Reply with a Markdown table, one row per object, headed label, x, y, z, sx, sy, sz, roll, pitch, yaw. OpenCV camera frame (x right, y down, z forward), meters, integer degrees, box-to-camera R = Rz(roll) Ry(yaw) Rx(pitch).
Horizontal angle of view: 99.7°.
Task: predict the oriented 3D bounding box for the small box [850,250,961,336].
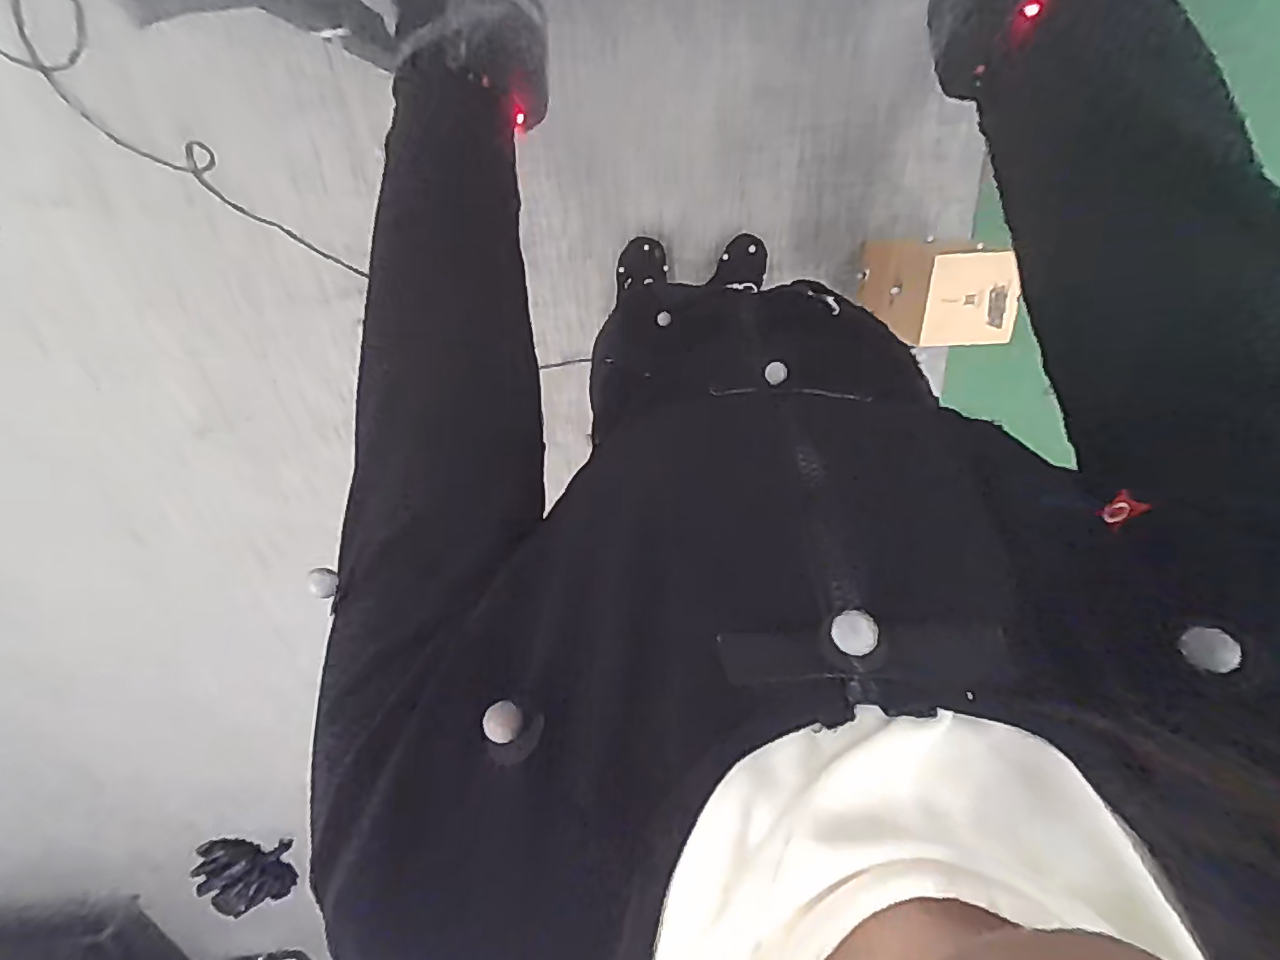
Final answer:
| label | x | y | z | sx | sy | sz | roll | pitch | yaw |
| --- | --- | --- | --- | --- | --- | --- | --- | --- | --- |
| small box | 0.599 | -0.426 | 1.221 | 0.179 | 0.176 | 0.168 | -1 | 116 | 1 |

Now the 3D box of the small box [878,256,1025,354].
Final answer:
| label | x | y | z | sx | sy | sz | roll | pitch | yaw |
| --- | --- | --- | --- | --- | --- | --- | --- | --- | --- |
| small box | 0.605 | -0.351 | 1.074 | 0.179 | 0.176 | 0.168 | -1 | 116 | 1 |
